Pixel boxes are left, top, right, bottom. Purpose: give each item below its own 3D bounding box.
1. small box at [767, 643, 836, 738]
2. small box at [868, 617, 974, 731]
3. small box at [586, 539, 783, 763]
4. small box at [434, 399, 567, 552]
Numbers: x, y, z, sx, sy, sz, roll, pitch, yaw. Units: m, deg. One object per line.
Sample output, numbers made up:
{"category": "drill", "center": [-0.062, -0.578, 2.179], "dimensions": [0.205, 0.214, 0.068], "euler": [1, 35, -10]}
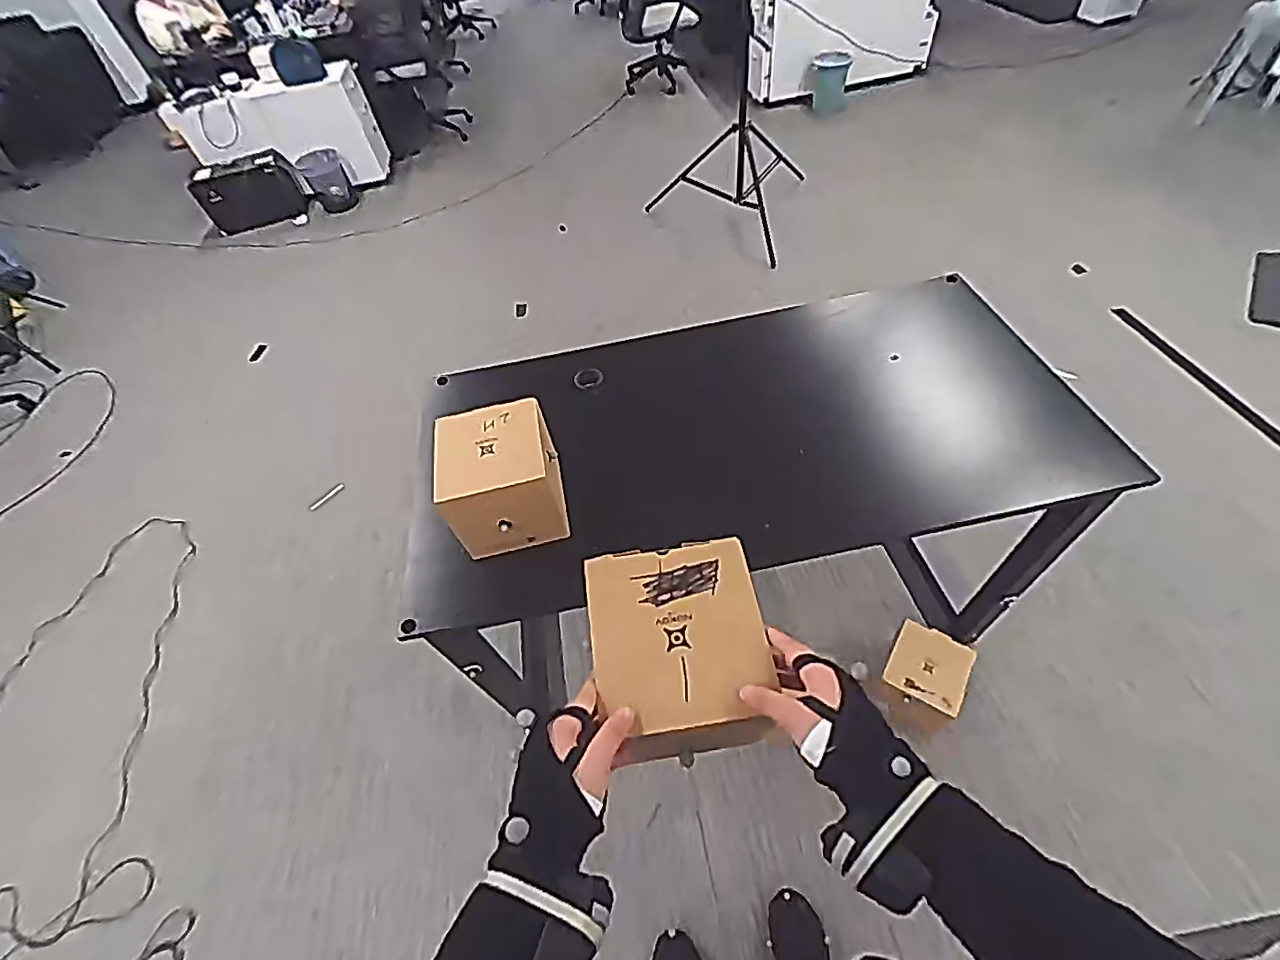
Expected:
{"category": "small box", "center": [0.377, 0.521, 1.330], "dimensions": [0.179, 0.176, 0.168], "euler": [4, 53, 13]}
{"category": "small box", "center": [0.677, 0.475, 1.318], "dimensions": [0.168, 0.176, 0.179], "euler": [25, 60, 25]}
{"category": "small box", "center": [0.038, 0.187, 0.580], "dimensions": [0.168, 0.176, 0.179], "euler": [-9, 56, -2]}
{"category": "small box", "center": [-0.224, 0.000, 0.887], "dimensions": [0.168, 0.176, 0.179], "euler": [-13, 52, -3]}
